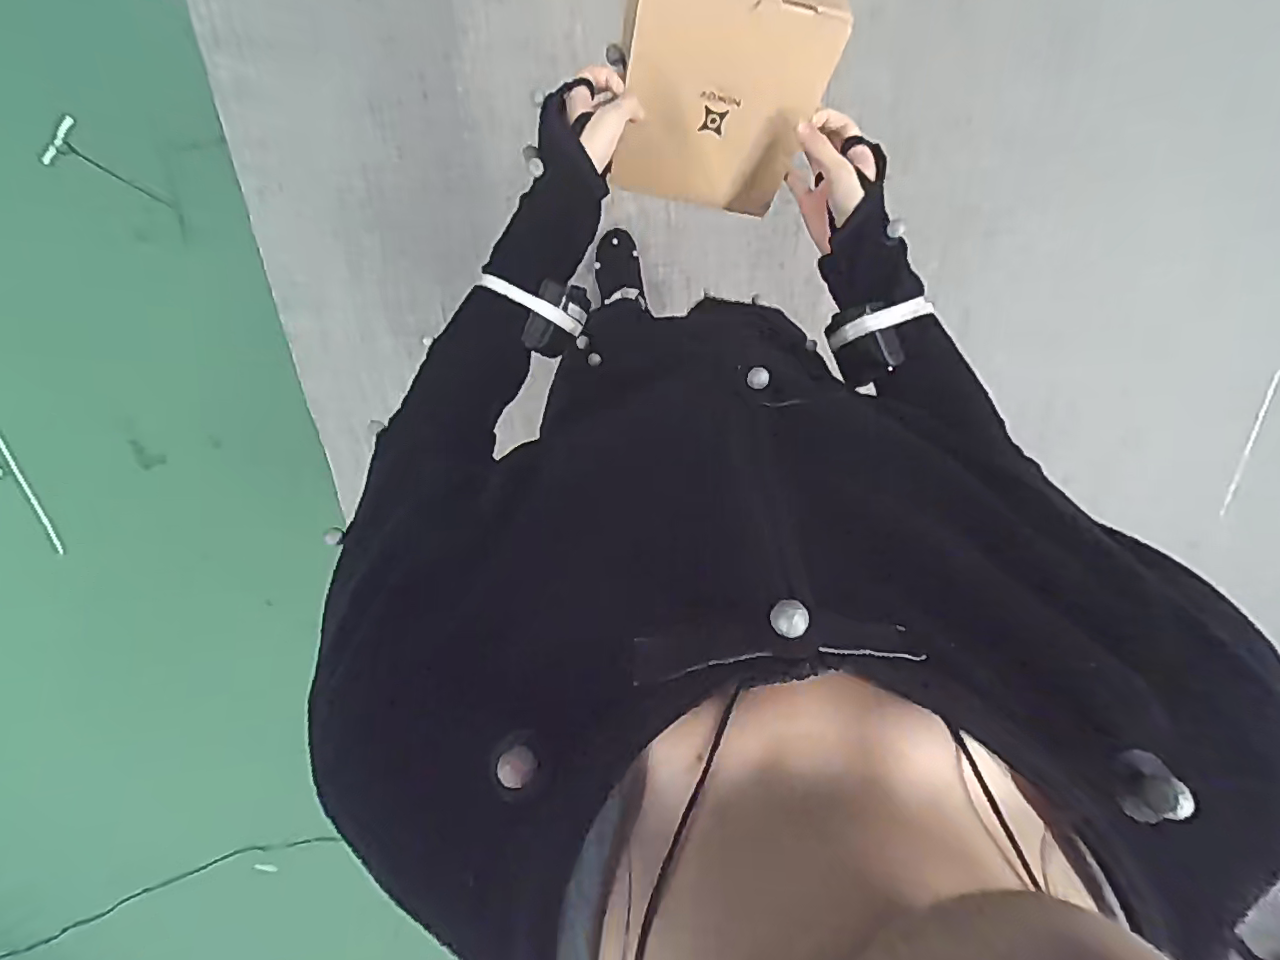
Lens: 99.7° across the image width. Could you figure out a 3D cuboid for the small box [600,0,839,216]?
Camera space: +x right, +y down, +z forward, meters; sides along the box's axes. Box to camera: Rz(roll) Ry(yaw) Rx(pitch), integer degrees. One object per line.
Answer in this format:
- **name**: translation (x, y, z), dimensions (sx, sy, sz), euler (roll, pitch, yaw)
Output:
- **small box**: translation (0.061, -0.393, 0.508), dimensions (0.168, 0.176, 0.179), euler (7, 151, -10)
